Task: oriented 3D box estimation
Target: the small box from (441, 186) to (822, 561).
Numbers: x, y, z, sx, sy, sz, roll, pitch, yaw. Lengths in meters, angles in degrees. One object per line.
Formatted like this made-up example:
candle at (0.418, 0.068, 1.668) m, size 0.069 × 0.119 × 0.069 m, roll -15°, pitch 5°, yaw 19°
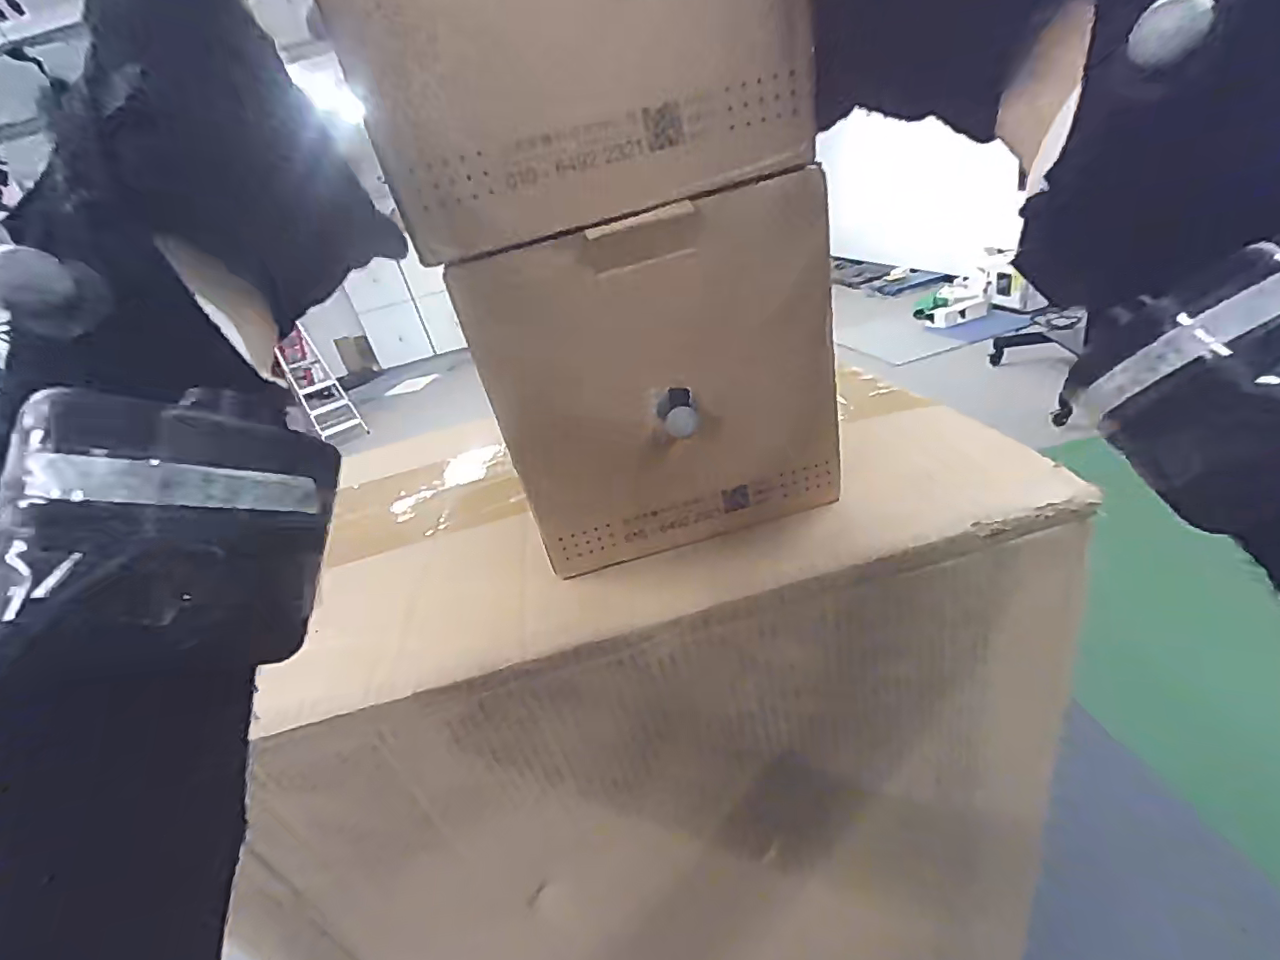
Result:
small box at (0.000, -0.069, 0.336) m, size 0.168 × 0.176 × 0.179 m, roll -16°, pitch 30°, yaw -2°

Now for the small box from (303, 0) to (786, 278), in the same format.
small box at (-0.043, -0.204, 0.255) m, size 0.168 × 0.176 × 0.179 m, roll -15°, pitch 28°, yaw -3°
